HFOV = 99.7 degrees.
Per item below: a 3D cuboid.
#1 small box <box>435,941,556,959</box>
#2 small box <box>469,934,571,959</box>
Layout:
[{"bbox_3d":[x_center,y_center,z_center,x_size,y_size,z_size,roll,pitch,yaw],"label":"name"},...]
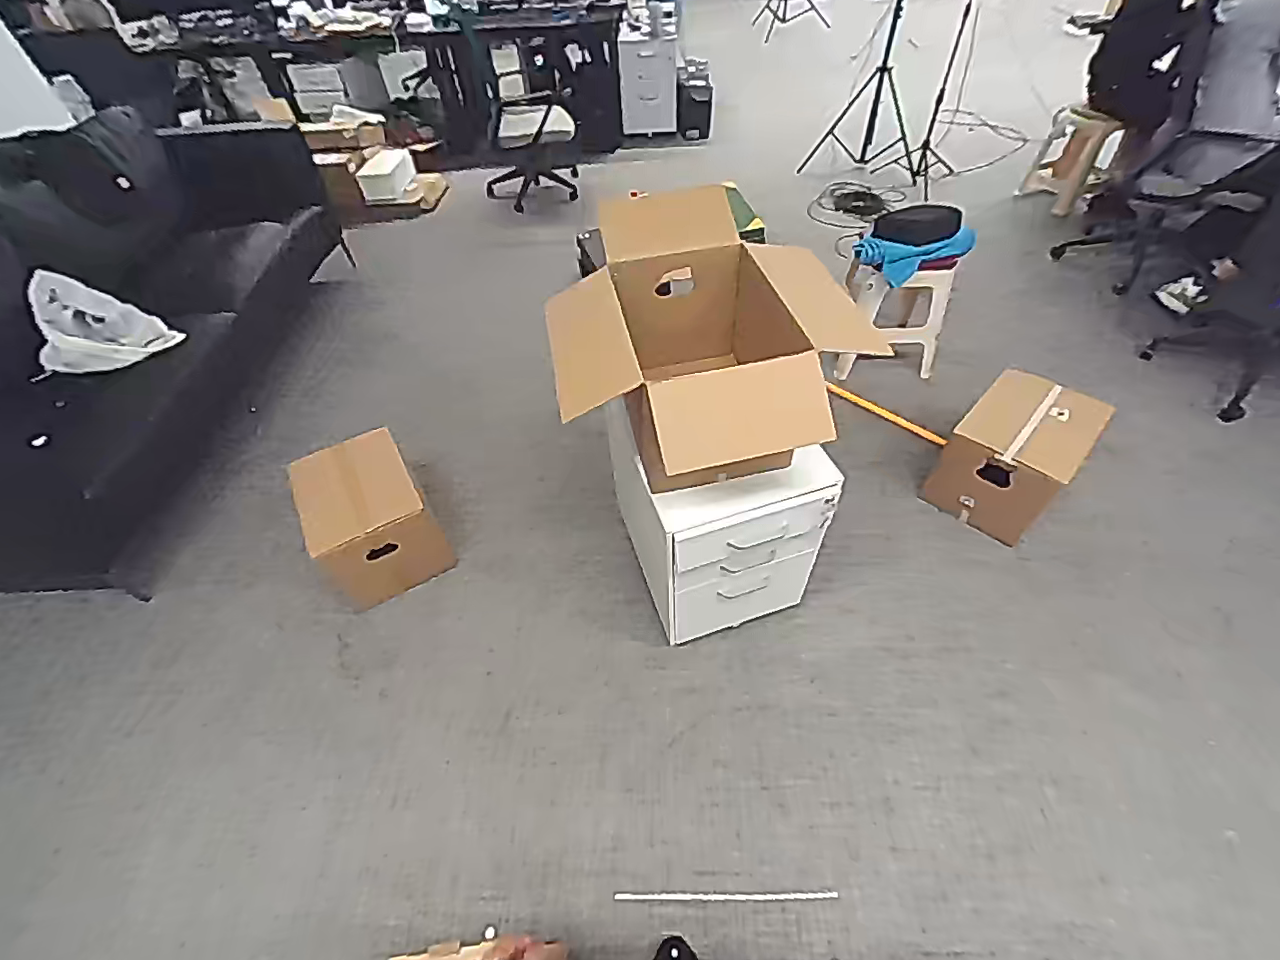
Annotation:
[{"bbox_3d":[-0.241,0.890,0.908,0.179,0.176,0.168,-7,49,1],"label":"small box"},{"bbox_3d":[-0.231,0.985,1.040,0.179,0.176,0.168,-4,50,1],"label":"small box"}]
